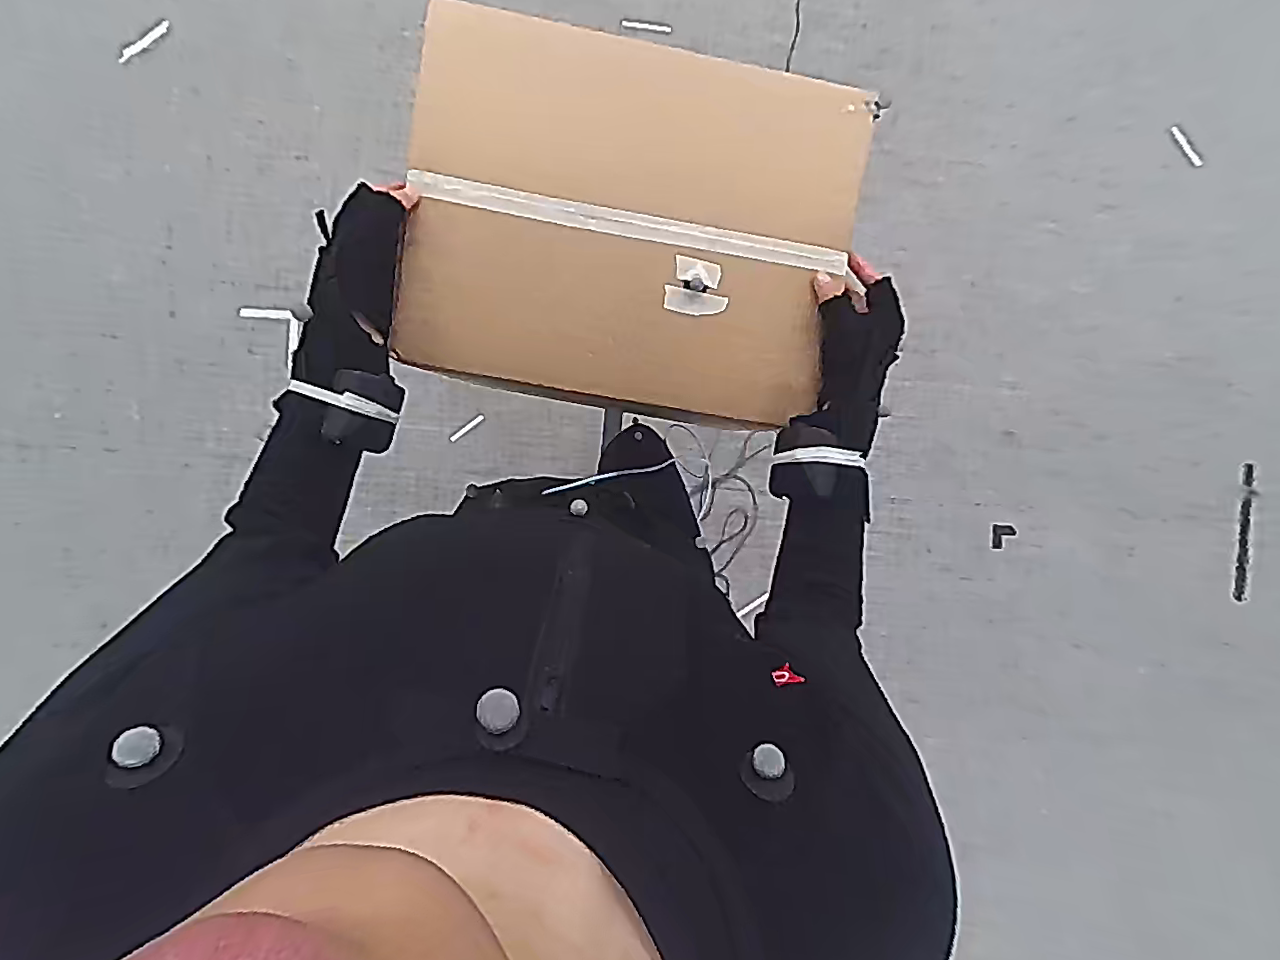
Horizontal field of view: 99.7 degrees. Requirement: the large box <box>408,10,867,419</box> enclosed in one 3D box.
[{"bbox_3d":[-0.012,-0.258,0.658,0.408,0.320,0.320,10,96,-4],"label":"large box"}]
